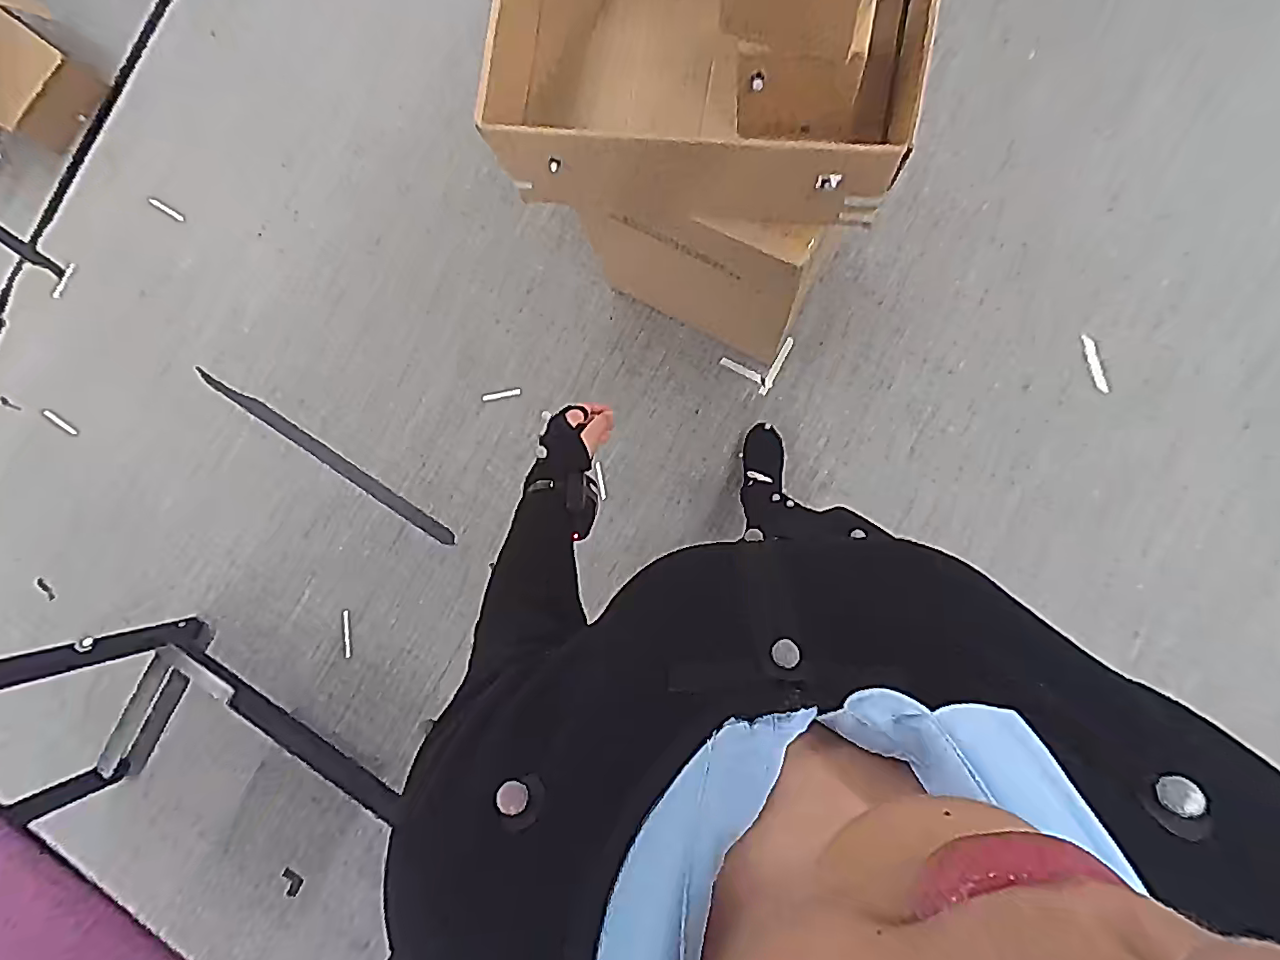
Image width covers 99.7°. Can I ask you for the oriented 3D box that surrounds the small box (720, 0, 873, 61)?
[{"bbox_3d":[0.200,-0.628,0.613,0.179,0.176,0.168,23,91,11],"label":"small box"}]
